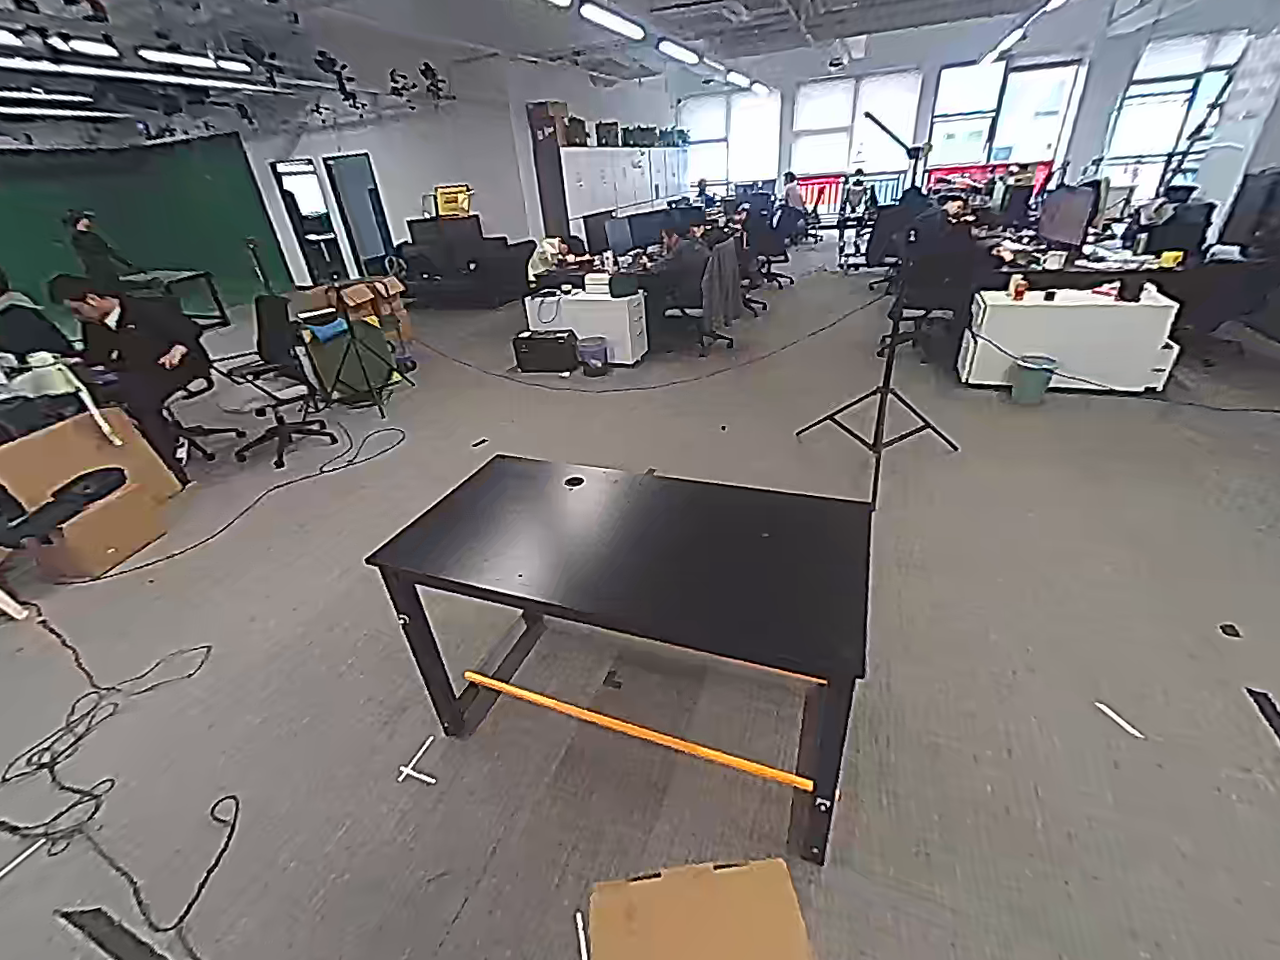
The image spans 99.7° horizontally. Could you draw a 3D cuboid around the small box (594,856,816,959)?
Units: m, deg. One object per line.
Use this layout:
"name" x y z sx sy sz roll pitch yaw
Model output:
"small box" 0.051 0.435 0.421 0.168 0.176 0.179 -5 34 -4
